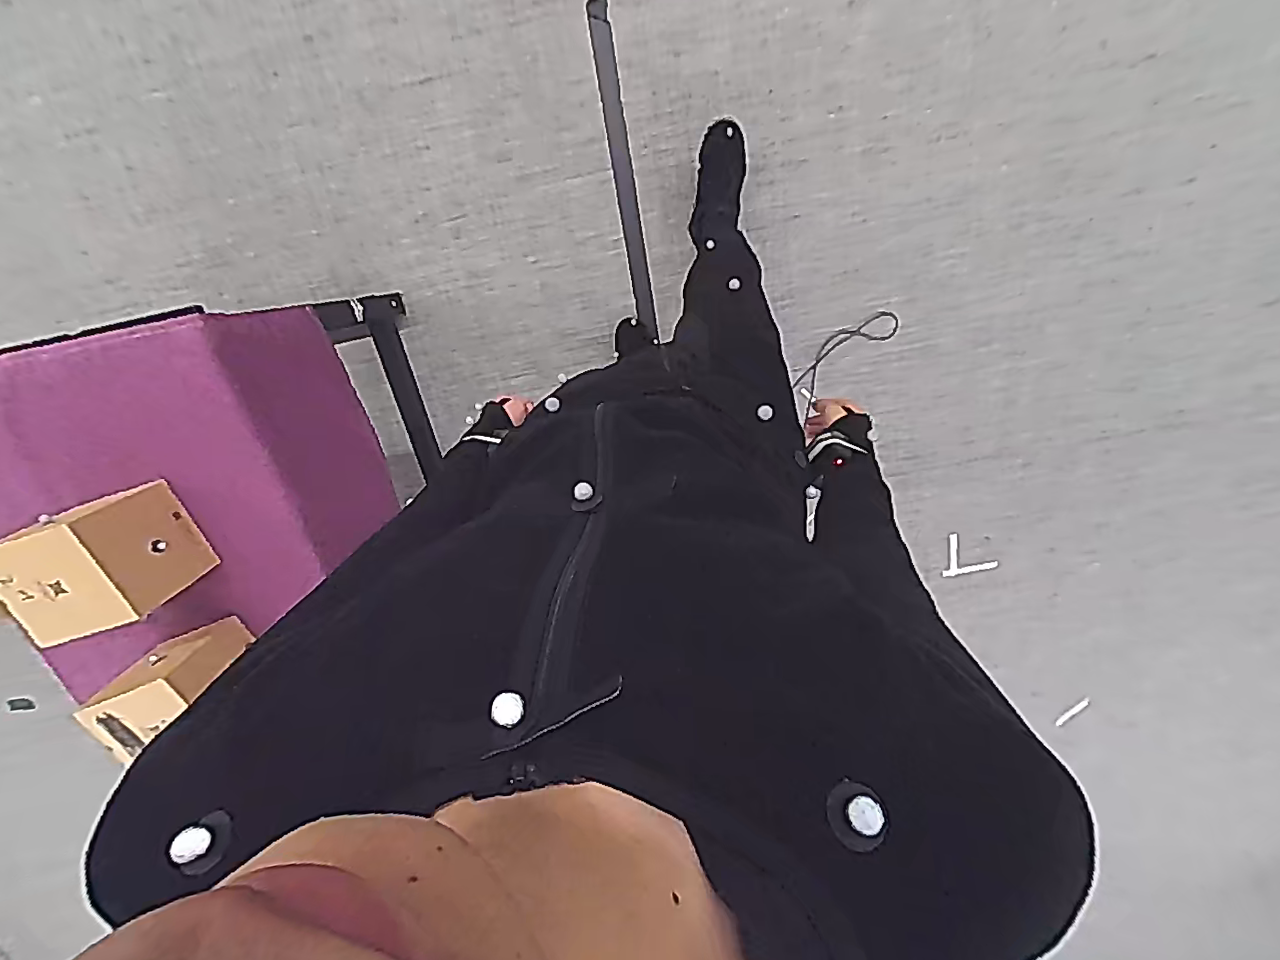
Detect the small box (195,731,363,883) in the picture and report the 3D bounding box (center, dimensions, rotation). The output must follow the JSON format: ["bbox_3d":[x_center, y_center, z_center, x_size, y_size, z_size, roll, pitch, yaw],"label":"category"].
[{"bbox_3d":[-0.689,0.632,1.057,0.179,0.176,0.168,-23,111,9],"label":"small box"}]

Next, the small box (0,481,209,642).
[{"bbox_3d":[-0.832,0.119,0.846,0.179,0.176,0.168,-15,111,7],"label":"small box"}]
